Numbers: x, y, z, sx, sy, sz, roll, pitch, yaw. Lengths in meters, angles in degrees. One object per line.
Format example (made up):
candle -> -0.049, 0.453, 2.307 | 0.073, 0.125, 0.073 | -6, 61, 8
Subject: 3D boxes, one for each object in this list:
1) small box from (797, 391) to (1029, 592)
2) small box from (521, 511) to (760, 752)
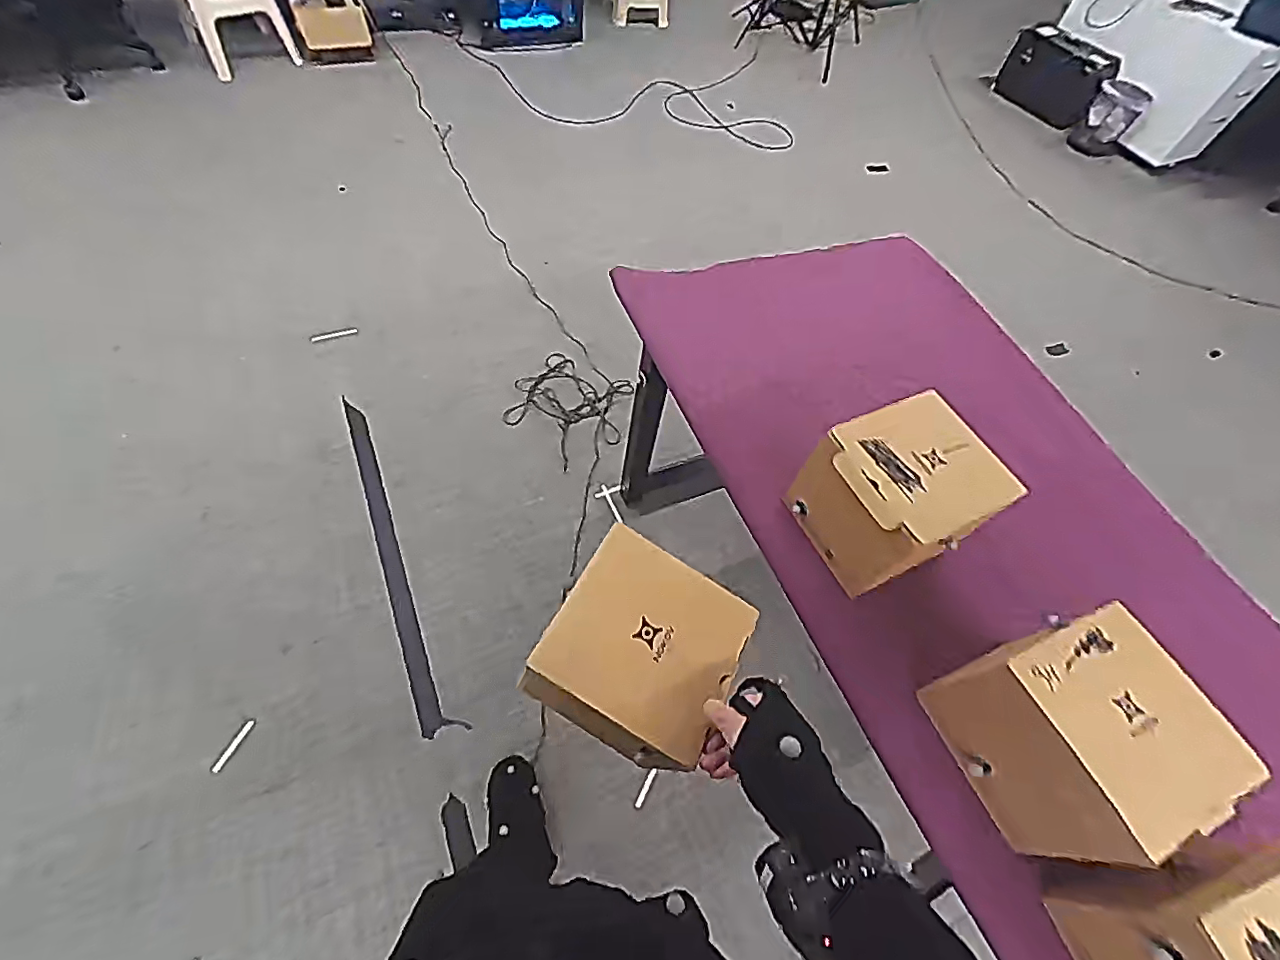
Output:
small box -> 0.325, 0.020, 0.691 | 0.179, 0.176, 0.168 | -20, 64, -19
small box -> -0.010, 0.169, 0.575 | 0.179, 0.176, 0.168 | 33, 60, 0
